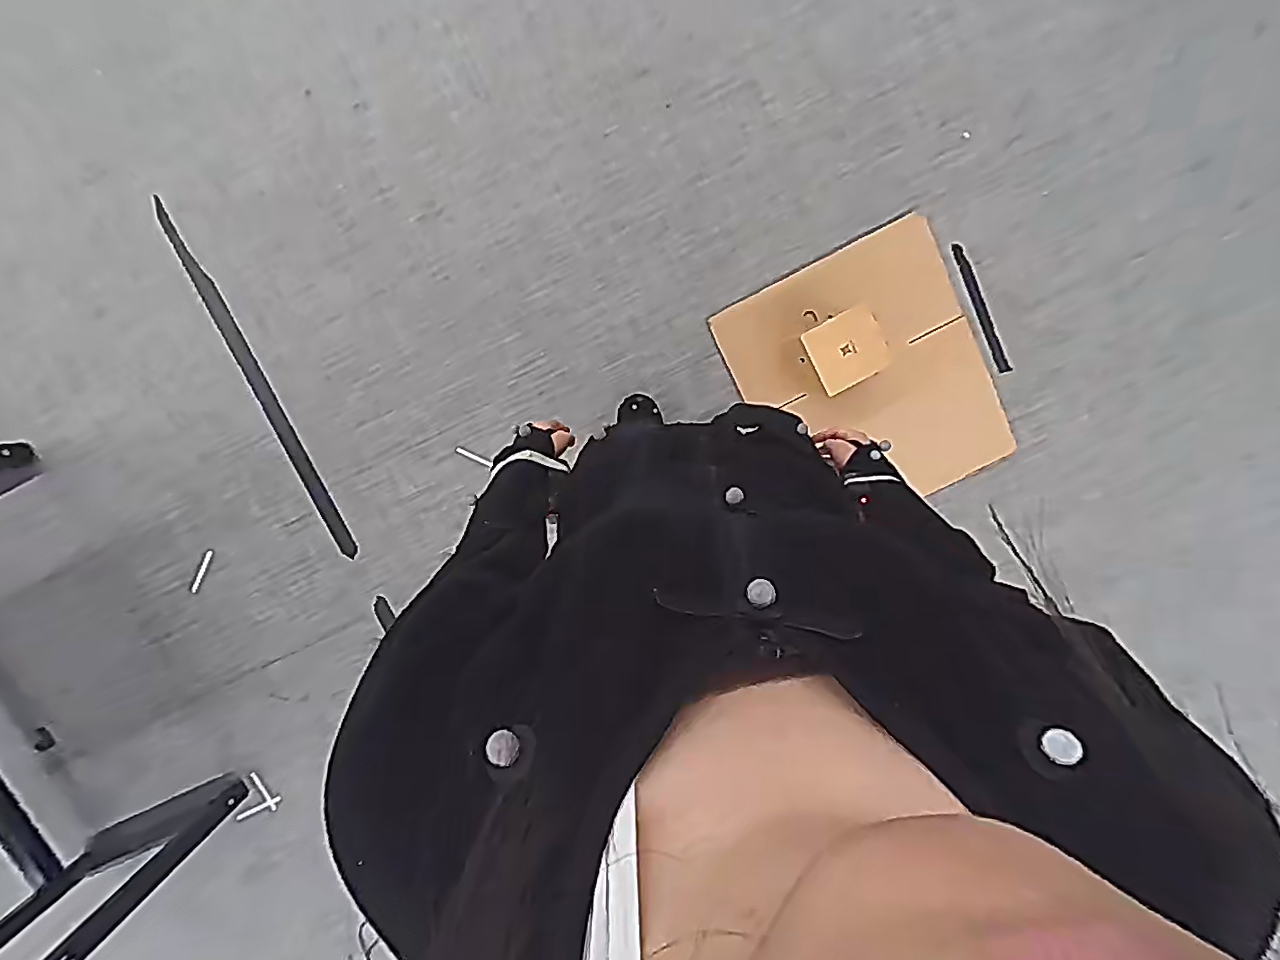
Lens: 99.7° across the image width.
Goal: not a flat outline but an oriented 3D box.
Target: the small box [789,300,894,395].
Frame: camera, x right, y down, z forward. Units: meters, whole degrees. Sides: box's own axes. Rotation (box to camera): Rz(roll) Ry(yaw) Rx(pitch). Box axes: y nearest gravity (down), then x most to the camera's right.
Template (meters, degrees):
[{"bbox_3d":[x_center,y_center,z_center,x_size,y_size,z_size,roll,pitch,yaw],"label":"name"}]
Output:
[{"bbox_3d":[0.489,-0.321,1.348,0.179,0.176,0.168,-28,98,5],"label":"small box"}]
